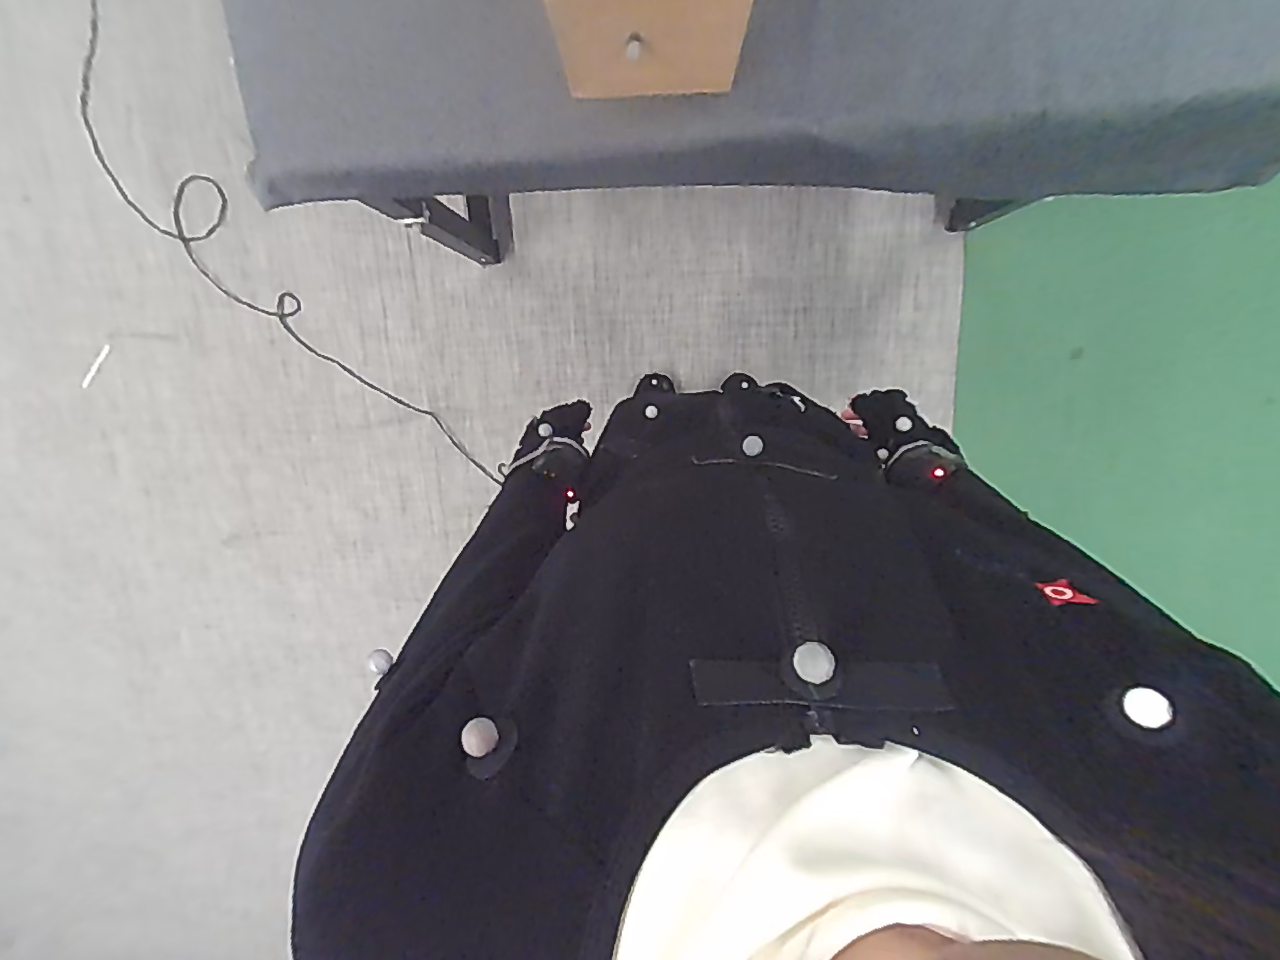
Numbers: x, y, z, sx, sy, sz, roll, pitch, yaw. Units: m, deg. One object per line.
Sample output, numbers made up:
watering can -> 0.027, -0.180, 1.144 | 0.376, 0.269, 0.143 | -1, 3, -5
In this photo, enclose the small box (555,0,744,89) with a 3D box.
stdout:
small box -> 0.009, -0.499, 0.508 | 0.179, 0.176, 0.168 | -1, 101, 2
